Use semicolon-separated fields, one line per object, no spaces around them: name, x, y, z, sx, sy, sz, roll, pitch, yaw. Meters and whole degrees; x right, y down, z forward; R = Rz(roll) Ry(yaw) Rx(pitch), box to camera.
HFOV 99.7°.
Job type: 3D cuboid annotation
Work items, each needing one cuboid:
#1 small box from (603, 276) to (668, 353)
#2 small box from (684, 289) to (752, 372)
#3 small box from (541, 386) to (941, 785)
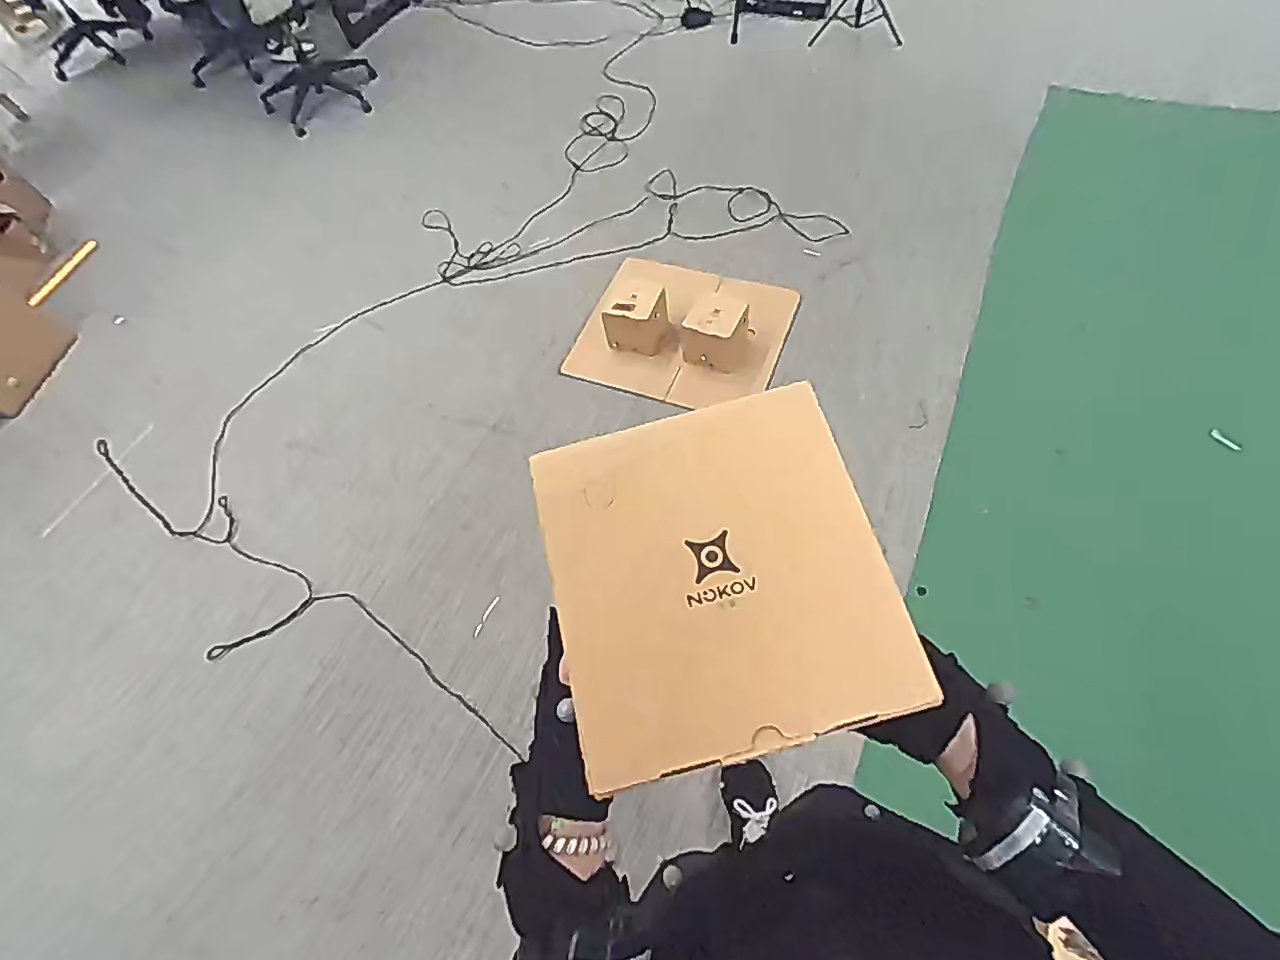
small box;-0.007;-0.562;1.852;0.168;0.176;0.179;16;64;15
small box;0.255;-0.491;1.785;0.168;0.176;0.179;22;66;18
small box;0.046;0.070;0.352;0.168;0.176;0.179;-15;70;-1
